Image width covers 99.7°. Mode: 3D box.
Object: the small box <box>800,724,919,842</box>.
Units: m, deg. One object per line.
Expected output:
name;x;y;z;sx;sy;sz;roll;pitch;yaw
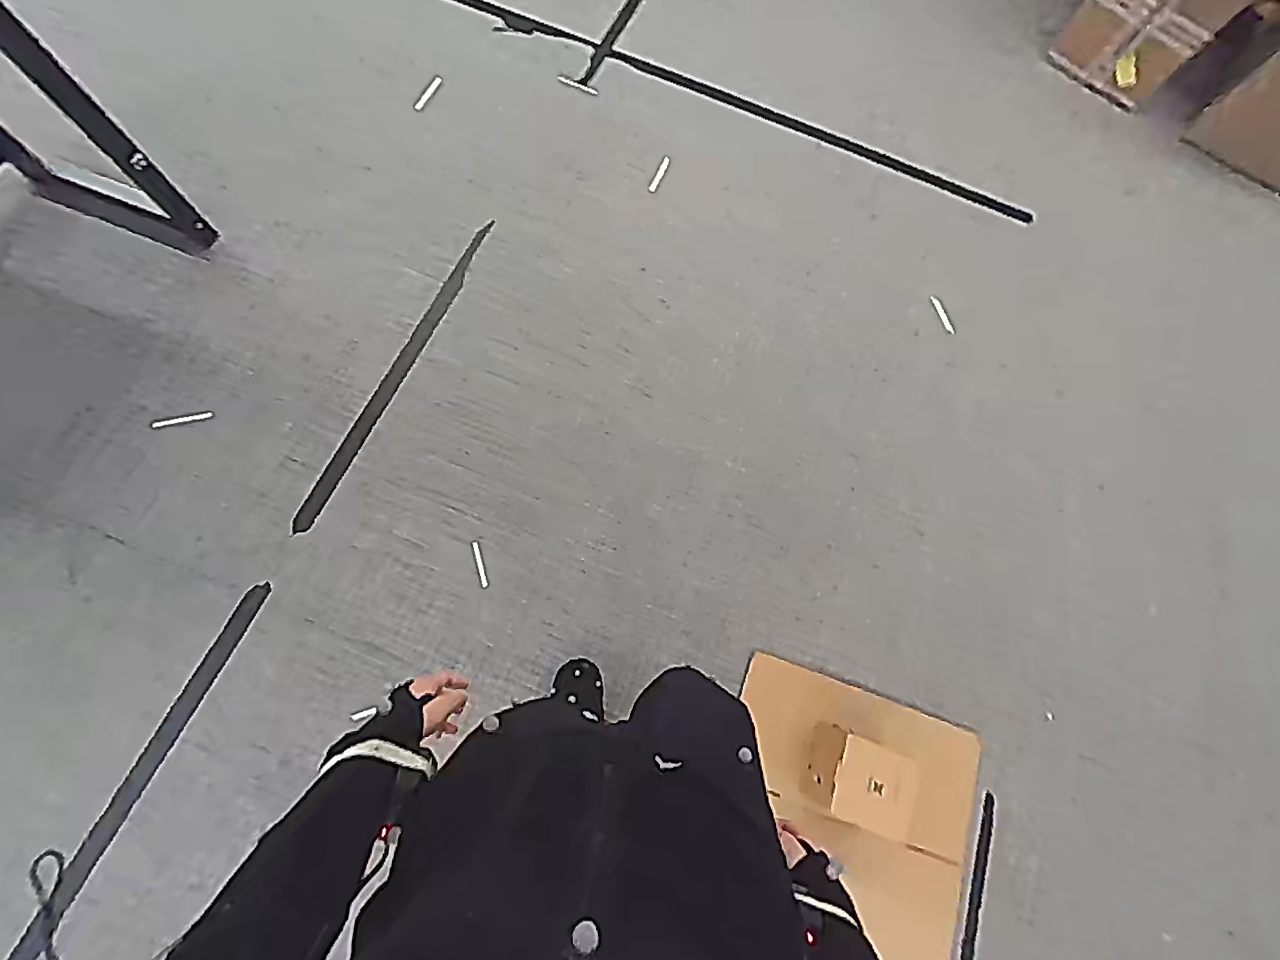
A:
small box;0.486;0.670;1.221;0.179;0.176;0.168;22;74;1
